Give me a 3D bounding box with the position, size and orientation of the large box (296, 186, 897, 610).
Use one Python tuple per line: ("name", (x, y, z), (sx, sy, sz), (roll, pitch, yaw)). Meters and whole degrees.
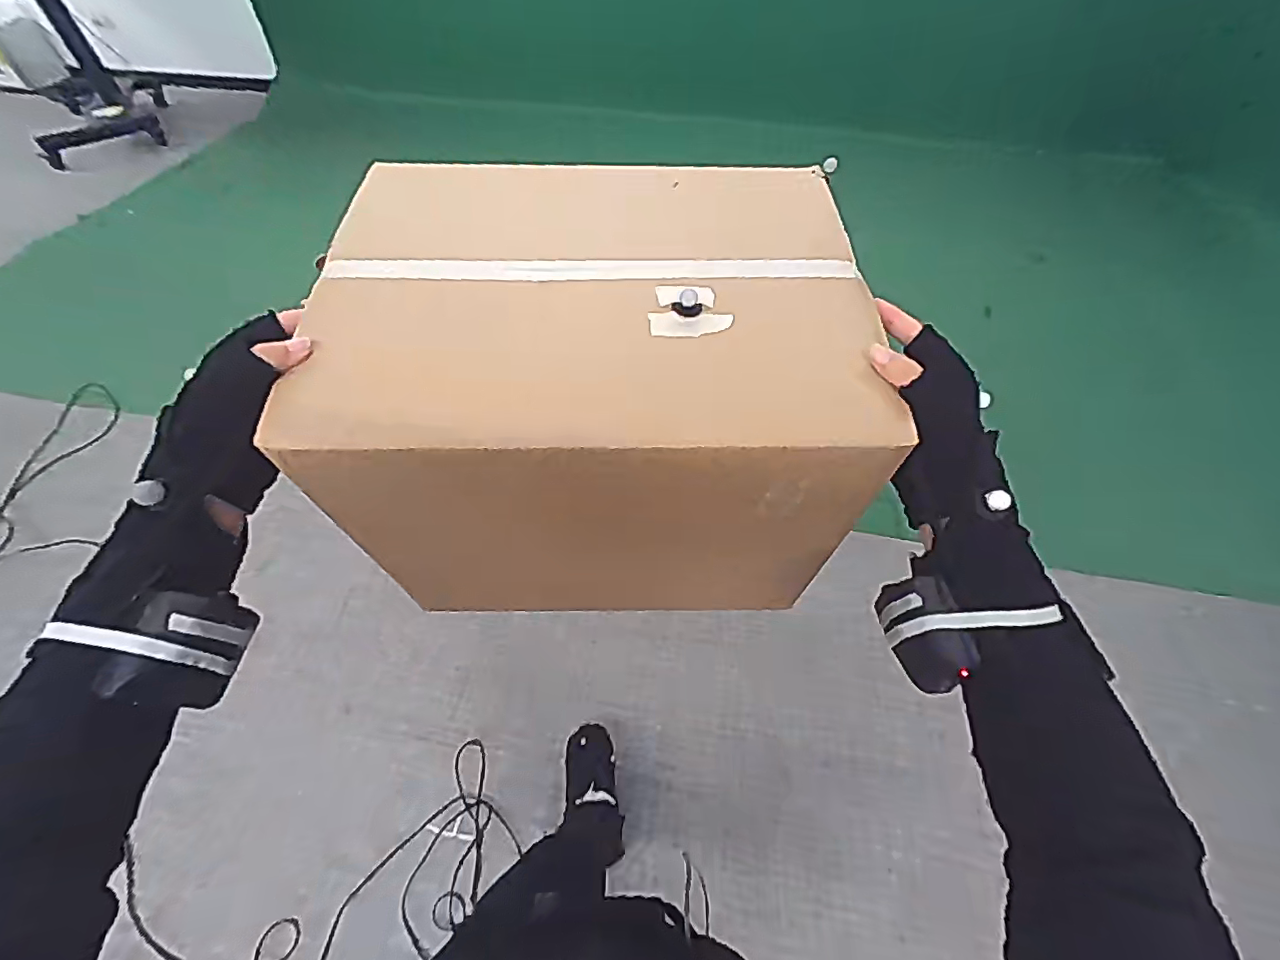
("large box", (-0.035, -0.068, 0.556), (0.408, 0.320, 0.320), (0, 58, -3))
